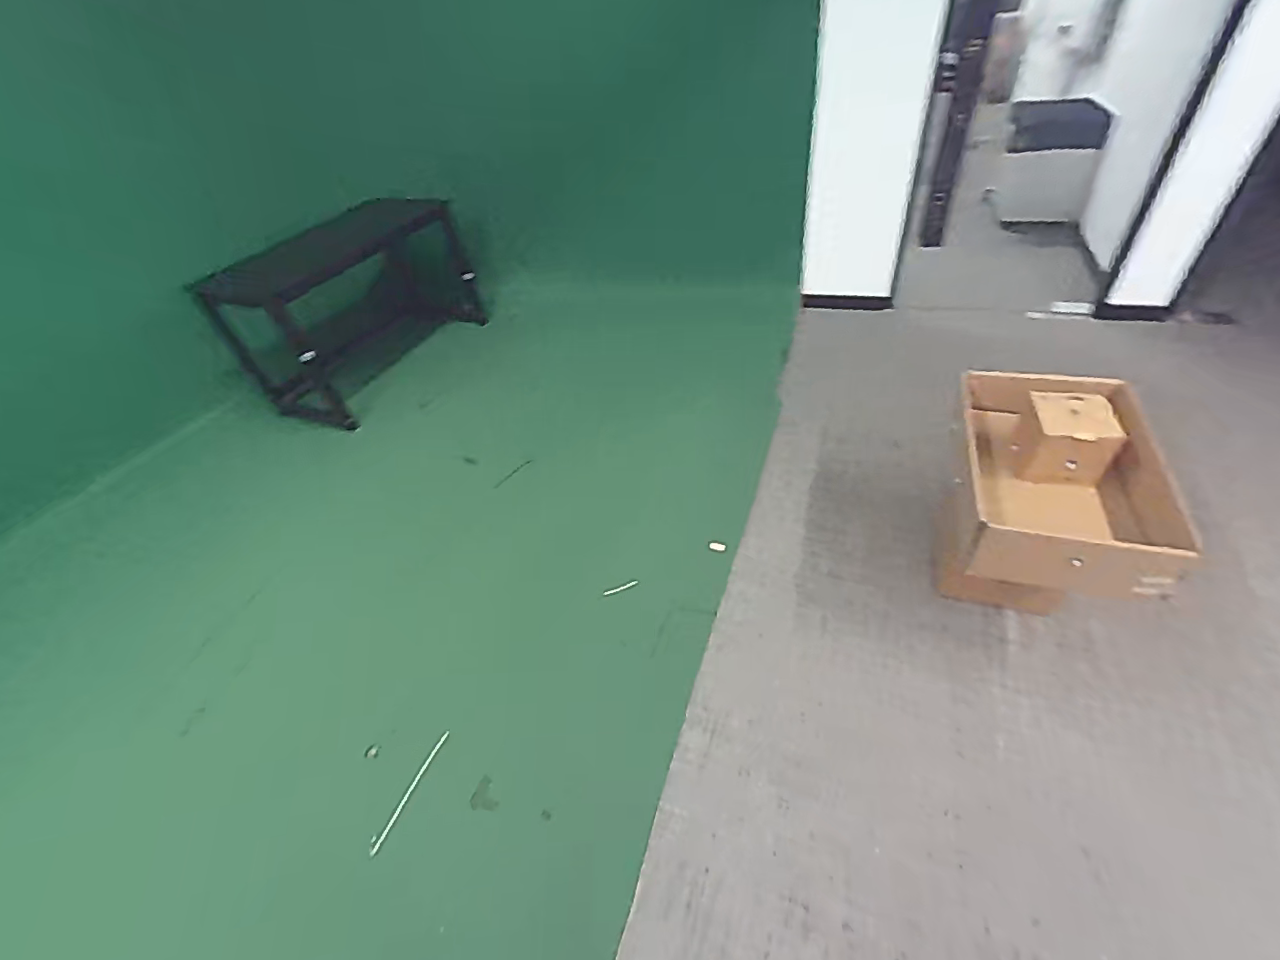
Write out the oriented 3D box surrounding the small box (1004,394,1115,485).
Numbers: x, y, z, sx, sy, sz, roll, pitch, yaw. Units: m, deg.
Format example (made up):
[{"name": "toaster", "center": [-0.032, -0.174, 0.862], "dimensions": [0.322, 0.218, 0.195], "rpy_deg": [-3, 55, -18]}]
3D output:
[{"name": "small box", "center": [1.092, -0.105, 1.424], "dimensions": [0.168, 0.176, 0.179], "rpy_deg": [6, 48, 15]}]
